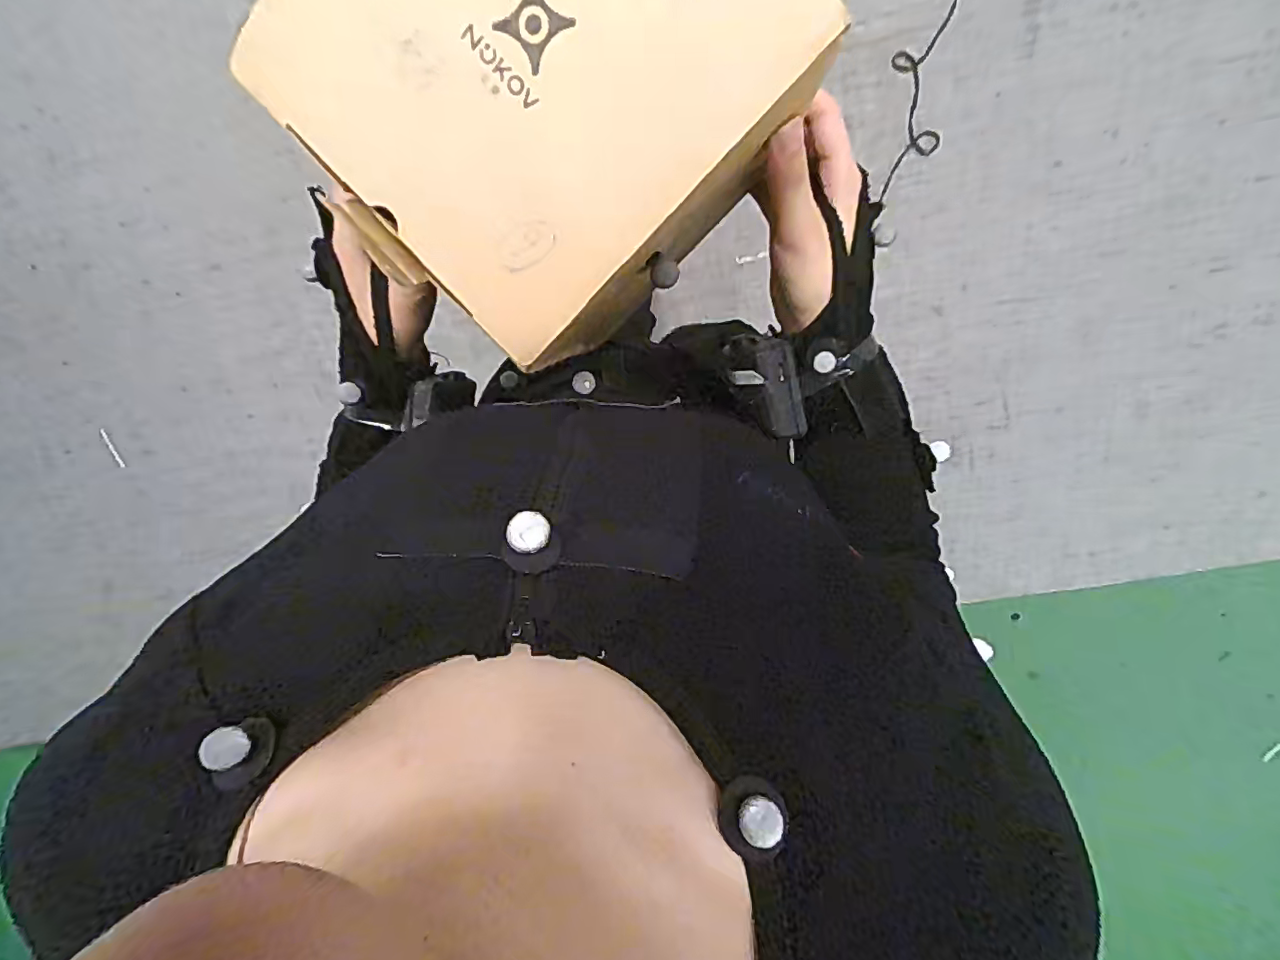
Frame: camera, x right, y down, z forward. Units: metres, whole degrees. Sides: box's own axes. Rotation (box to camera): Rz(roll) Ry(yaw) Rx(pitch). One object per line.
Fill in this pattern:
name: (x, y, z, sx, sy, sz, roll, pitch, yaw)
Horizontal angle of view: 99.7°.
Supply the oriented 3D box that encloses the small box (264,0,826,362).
small box: (-0.034, -0.187, 0.289, 0.179, 0.176, 0.168, -42, 98, 17)
